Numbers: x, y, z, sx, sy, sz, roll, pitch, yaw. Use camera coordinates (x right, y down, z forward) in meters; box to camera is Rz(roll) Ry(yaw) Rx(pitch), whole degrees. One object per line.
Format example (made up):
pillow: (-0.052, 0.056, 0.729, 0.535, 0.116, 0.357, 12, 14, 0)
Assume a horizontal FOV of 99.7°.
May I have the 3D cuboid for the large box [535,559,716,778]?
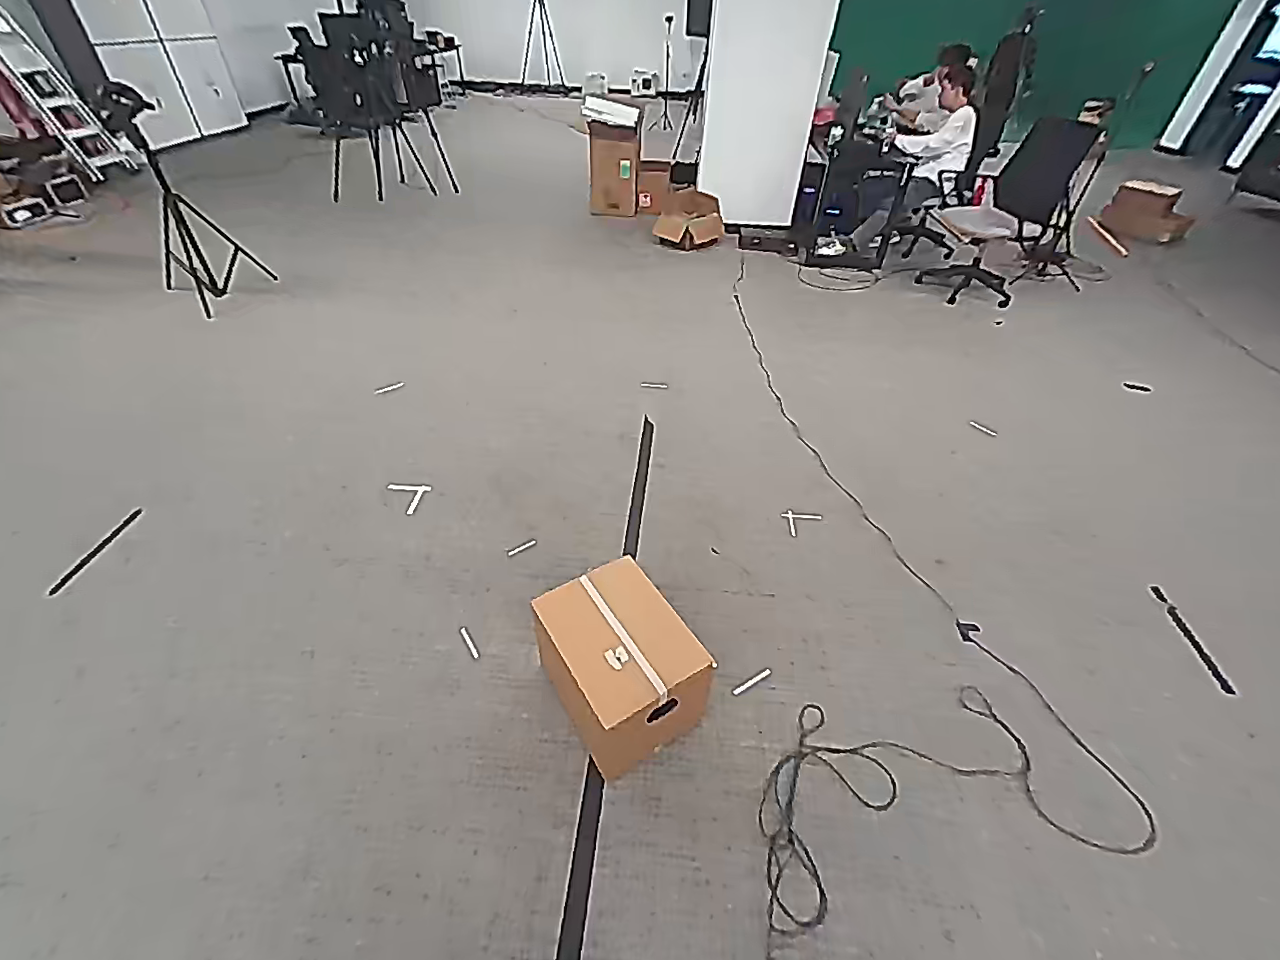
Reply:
large box: (-0.056, 0.498, 1.474, 0.320, 0.320, 0.408, -22, 48, -25)
